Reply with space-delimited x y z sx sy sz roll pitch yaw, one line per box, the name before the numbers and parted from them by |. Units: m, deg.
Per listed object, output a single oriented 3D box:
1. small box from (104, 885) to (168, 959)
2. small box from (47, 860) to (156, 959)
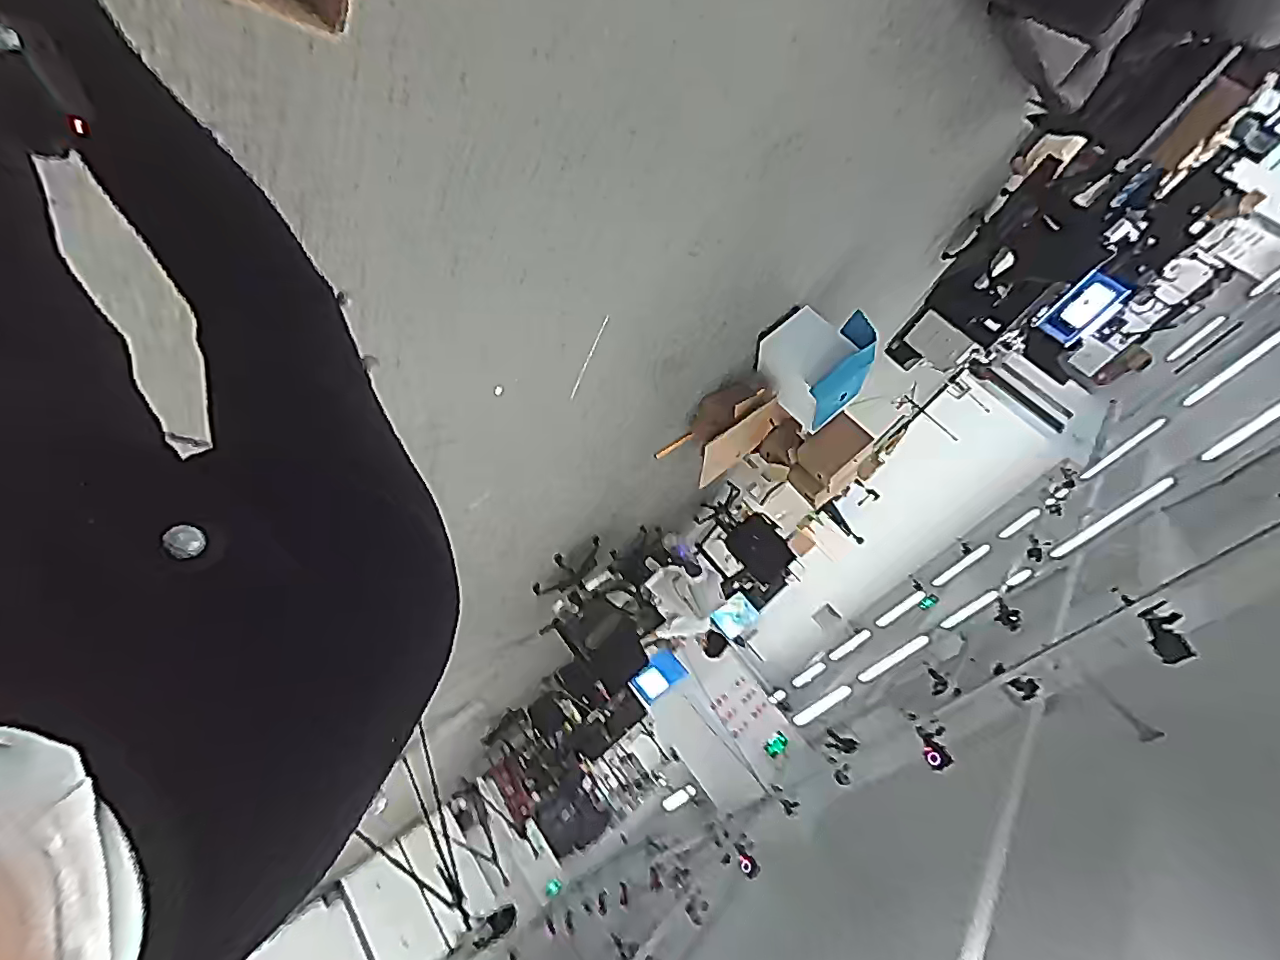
small box | -1.537 1.346 1.600 0.168 0.176 0.179 -21 151 -44
small box | -1.403 1.140 1.415 0.168 0.176 0.179 -19 151 -46
